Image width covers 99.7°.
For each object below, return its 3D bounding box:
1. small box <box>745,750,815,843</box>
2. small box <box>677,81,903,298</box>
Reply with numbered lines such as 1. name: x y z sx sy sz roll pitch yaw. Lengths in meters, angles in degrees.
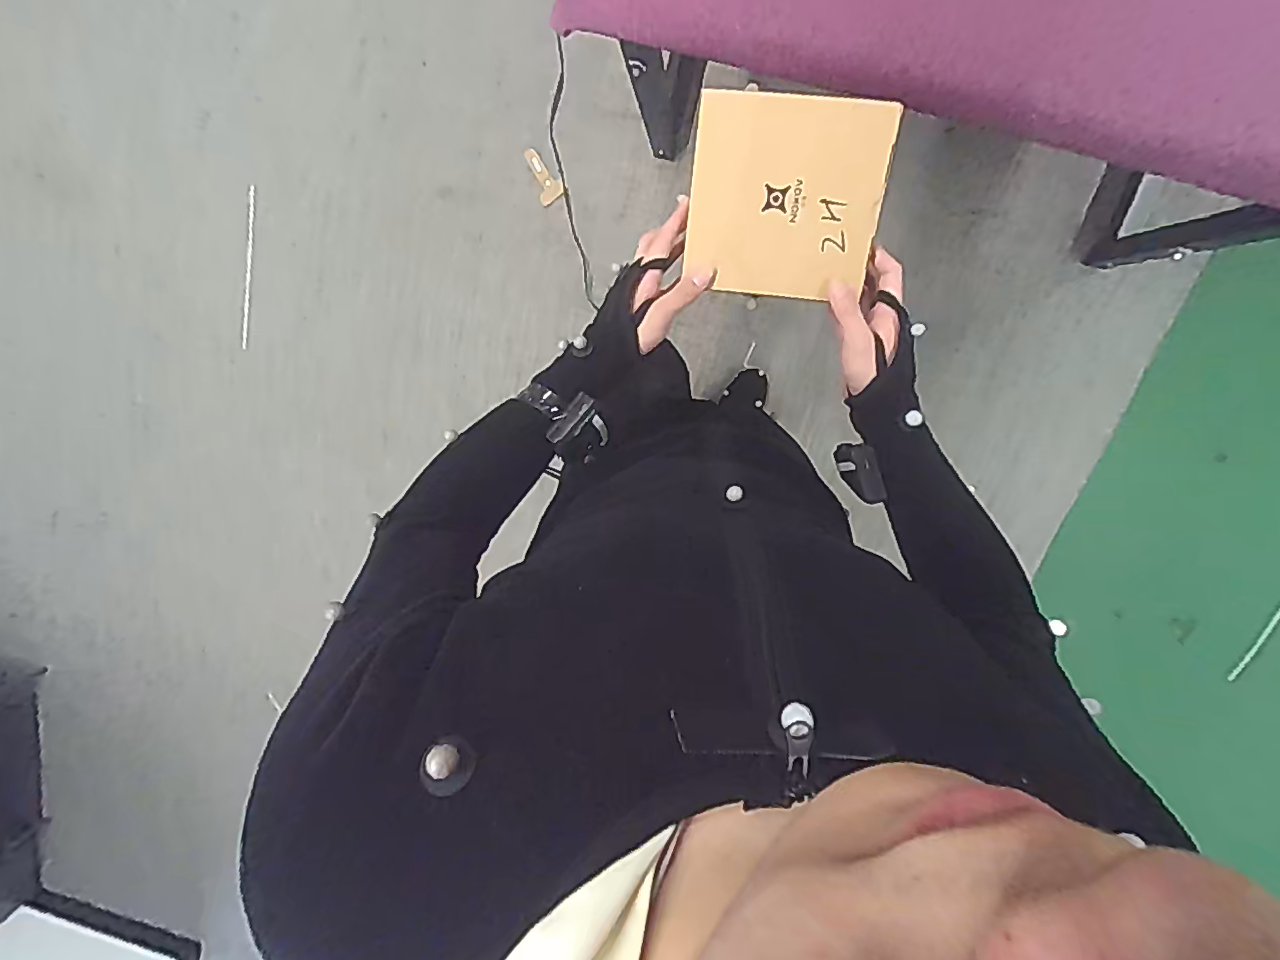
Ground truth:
1. small box: 0.448 1.026 1.768 0.168 0.176 0.179 19 107 2
2. small box: 0.137 -0.284 0.563 0.179 0.176 0.168 7 110 3
